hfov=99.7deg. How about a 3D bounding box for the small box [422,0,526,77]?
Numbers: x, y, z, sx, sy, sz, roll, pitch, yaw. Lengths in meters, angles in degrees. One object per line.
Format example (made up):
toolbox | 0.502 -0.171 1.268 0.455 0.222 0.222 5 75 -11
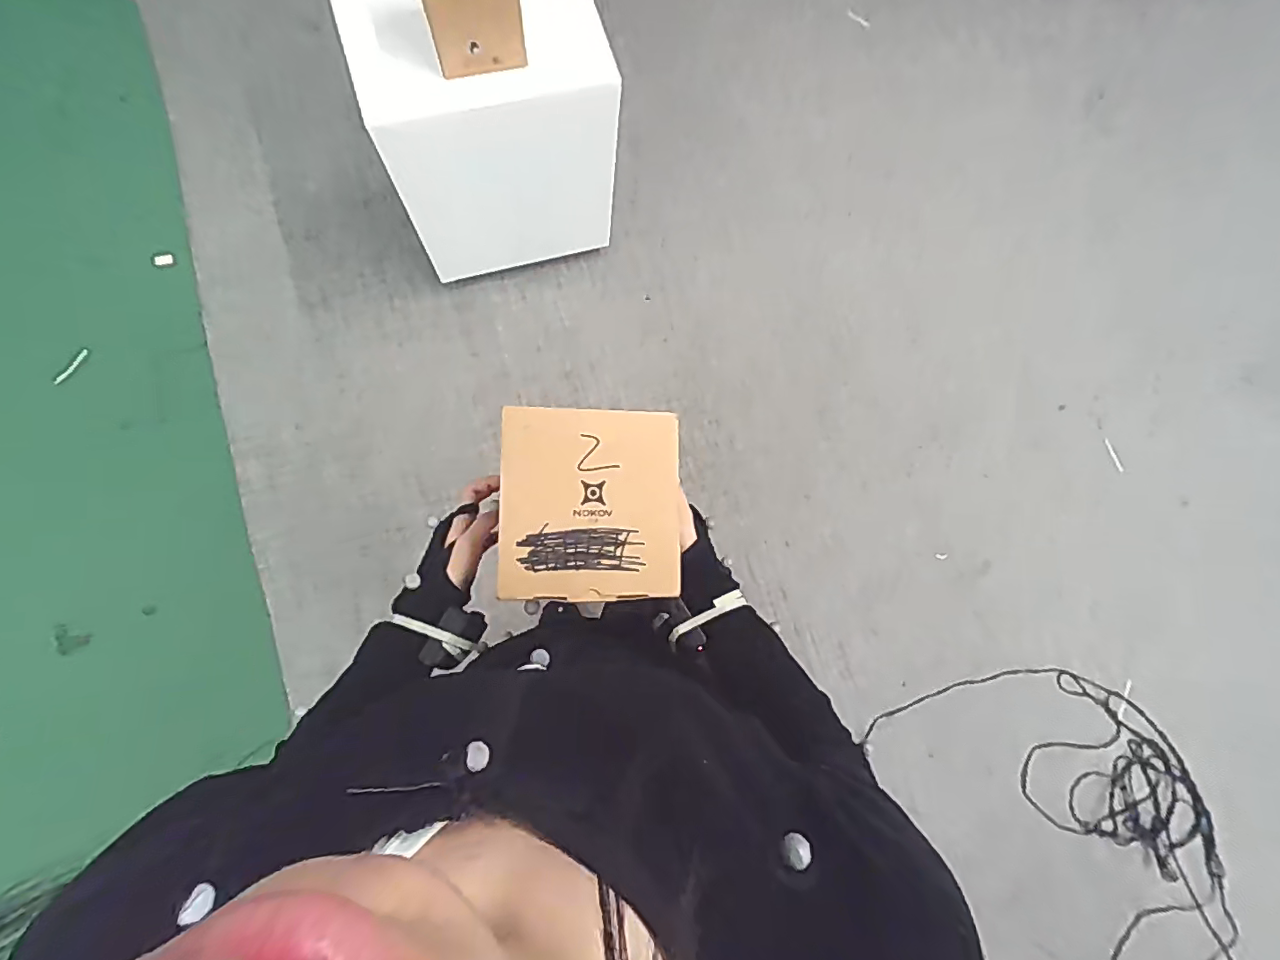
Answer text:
small box | -0.314 -0.885 0.982 0.168 0.176 0.179 -16 81 -9
